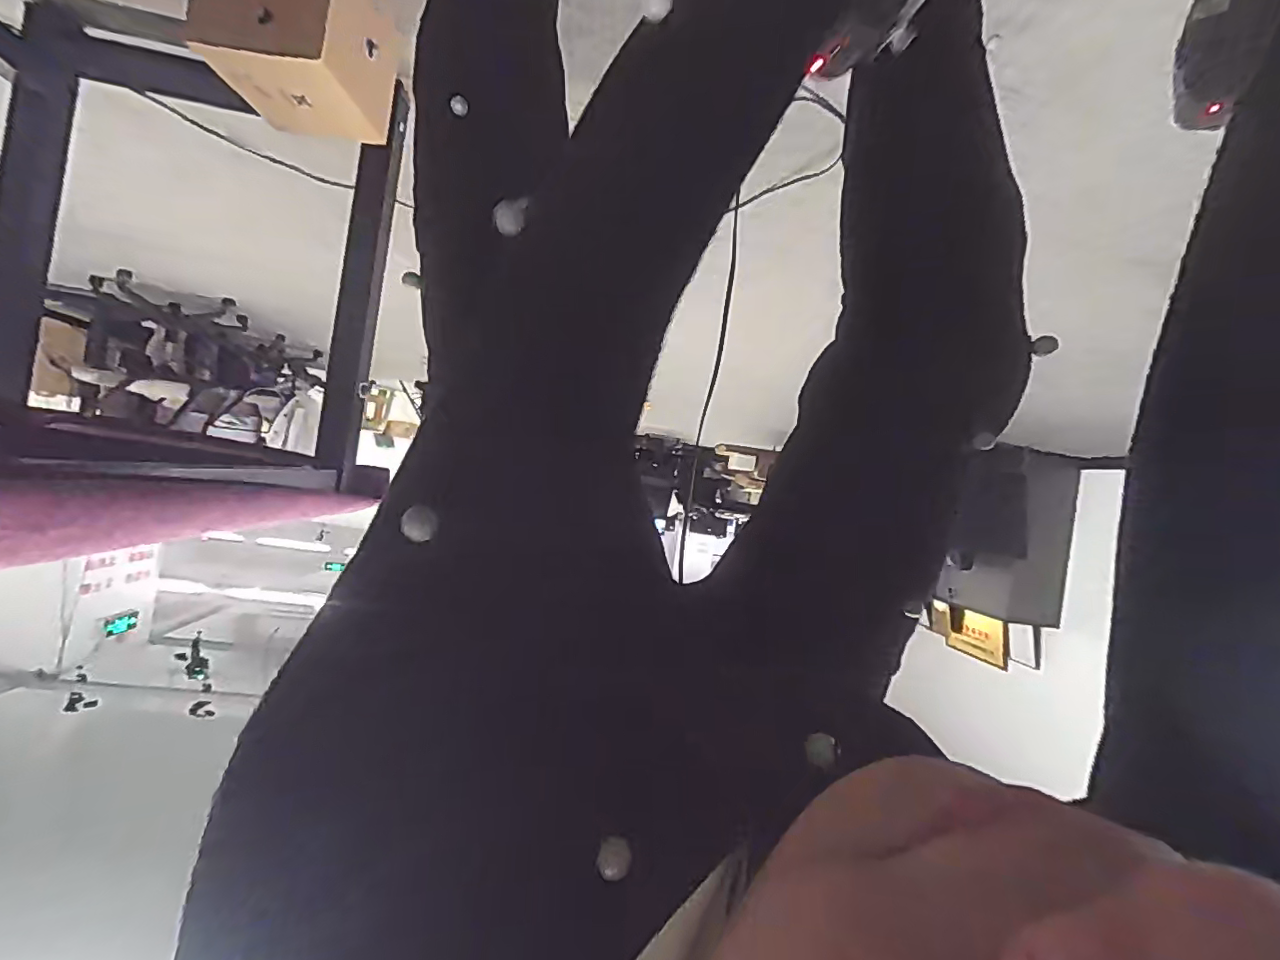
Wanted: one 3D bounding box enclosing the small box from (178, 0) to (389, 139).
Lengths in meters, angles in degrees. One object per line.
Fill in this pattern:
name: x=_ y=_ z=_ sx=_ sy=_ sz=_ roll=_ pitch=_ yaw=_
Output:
small box: x=-0.453 y=-0.595 z=0.716 sx=0.179 sy=0.176 sz=0.168 roll=9 pitch=179 yaw=0
